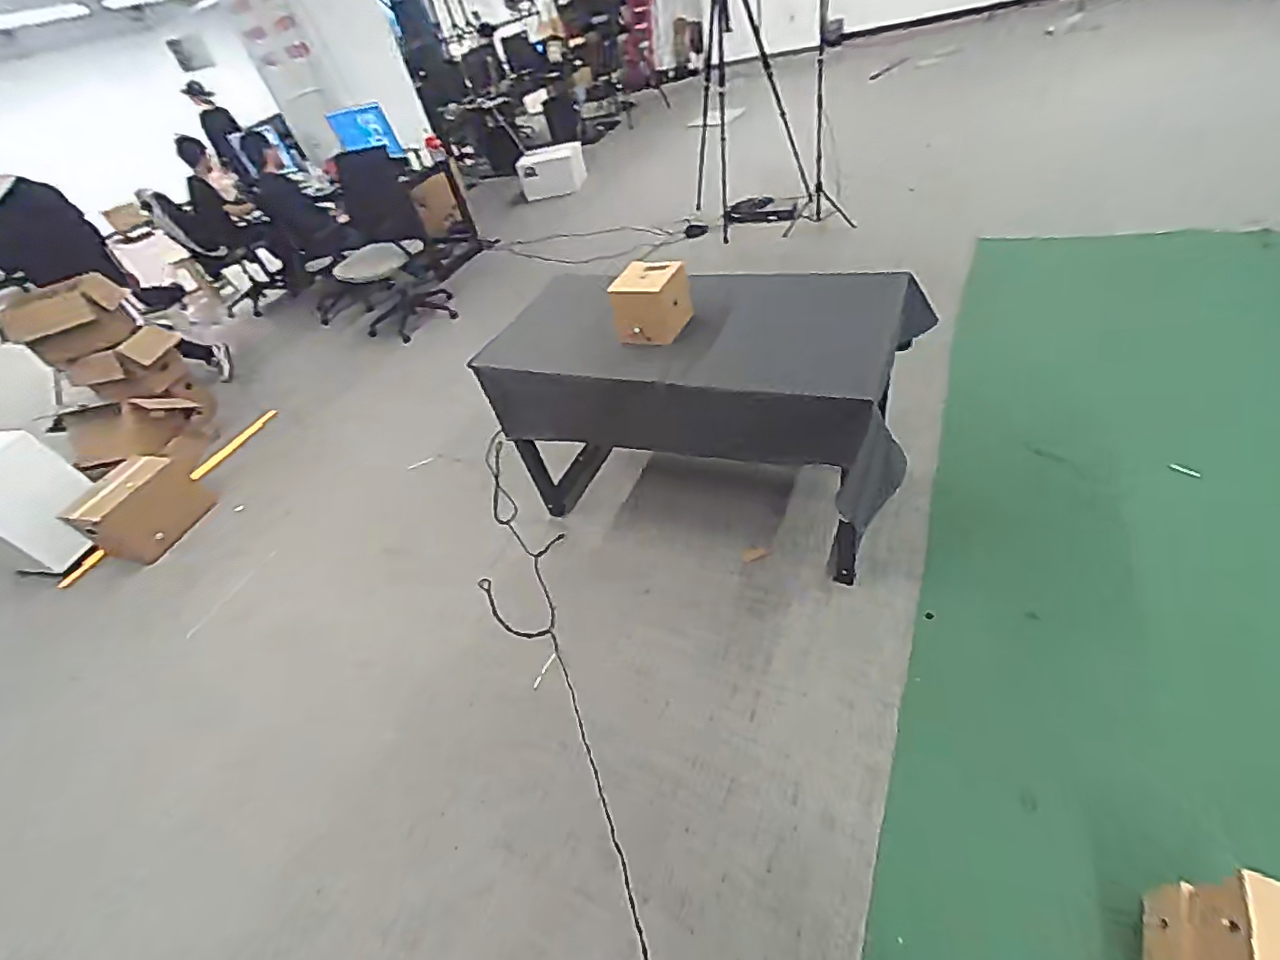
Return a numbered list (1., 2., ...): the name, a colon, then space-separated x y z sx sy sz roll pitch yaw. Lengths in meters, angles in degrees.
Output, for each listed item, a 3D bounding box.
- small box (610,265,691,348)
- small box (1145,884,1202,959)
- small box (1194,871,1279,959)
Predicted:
1. small box: 0.039 -0.506 1.566 0.168 0.176 0.179 11 49 27
2. small box: 0.997 0.841 0.918 0.179 0.176 0.168 15 50 30
3. small box: 0.967 0.731 0.798 0.168 0.176 0.179 14 50 29
